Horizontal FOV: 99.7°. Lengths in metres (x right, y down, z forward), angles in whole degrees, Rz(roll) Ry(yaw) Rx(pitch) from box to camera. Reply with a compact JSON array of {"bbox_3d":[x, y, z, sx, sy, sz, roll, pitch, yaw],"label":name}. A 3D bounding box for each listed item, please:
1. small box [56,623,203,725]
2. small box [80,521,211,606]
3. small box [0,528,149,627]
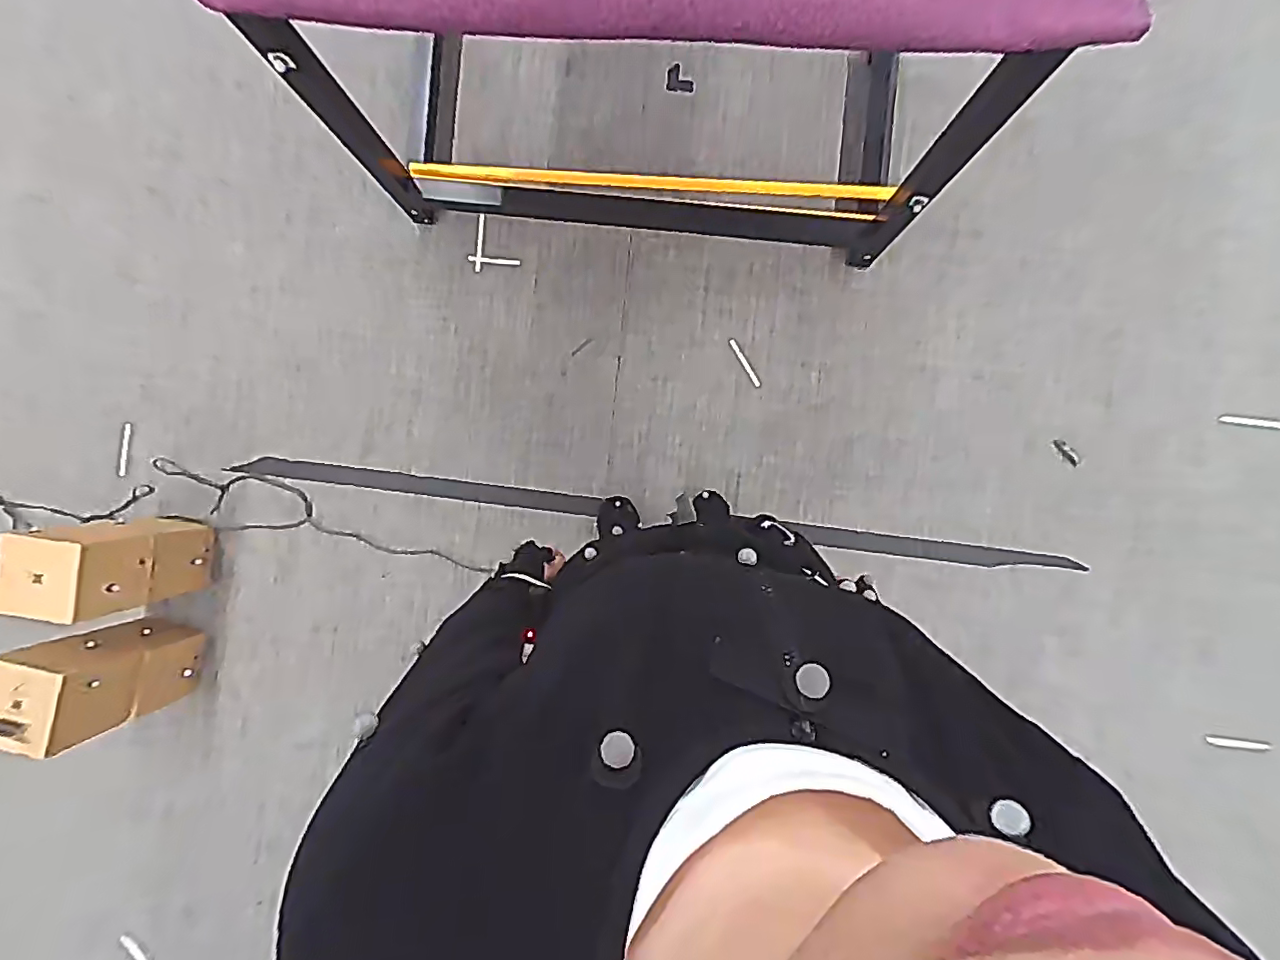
[{"bbox_3d":[-1.222,0.458,1.305,0.179,0.176,0.168,13,90,0],"label":"small box"},{"bbox_3d":[-1.195,0.194,1.306,0.179,0.176,0.168,8,91,1],"label":"small box"},{"bbox_3d":[-1.199,0.197,1.143,0.179,0.176,0.168,8,91,2],"label":"small box"}]
